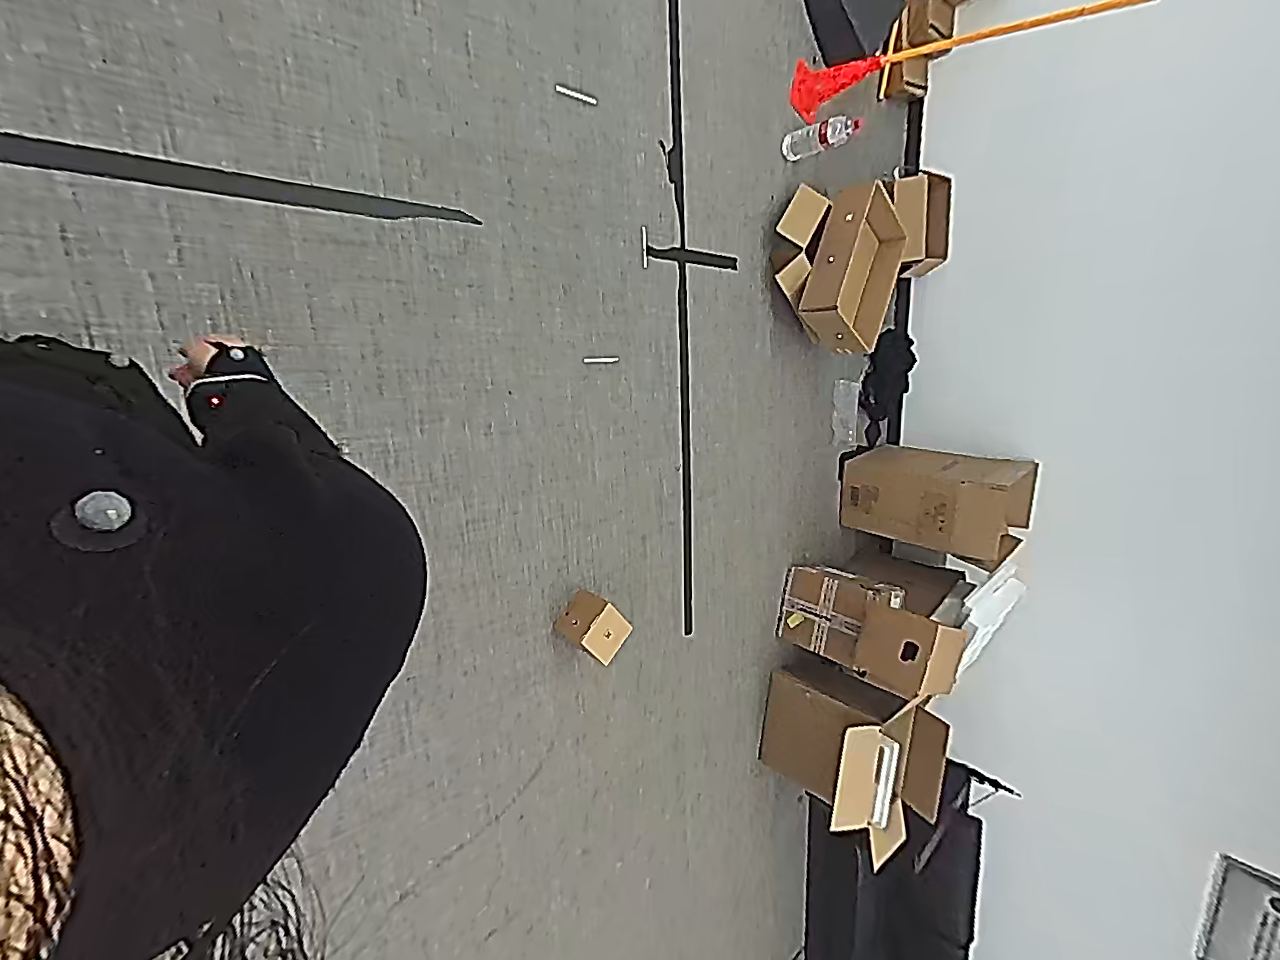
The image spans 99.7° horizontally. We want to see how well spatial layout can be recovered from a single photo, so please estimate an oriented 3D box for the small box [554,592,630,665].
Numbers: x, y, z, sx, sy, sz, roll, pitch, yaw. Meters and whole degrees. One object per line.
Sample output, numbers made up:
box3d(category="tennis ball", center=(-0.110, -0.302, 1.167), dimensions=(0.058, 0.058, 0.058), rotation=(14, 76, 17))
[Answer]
box3d(category="small box", center=(-0.174, 0.521, 1.927), dimensions=(0.168, 0.176, 0.179), rotation=(-52, 129, -21))
